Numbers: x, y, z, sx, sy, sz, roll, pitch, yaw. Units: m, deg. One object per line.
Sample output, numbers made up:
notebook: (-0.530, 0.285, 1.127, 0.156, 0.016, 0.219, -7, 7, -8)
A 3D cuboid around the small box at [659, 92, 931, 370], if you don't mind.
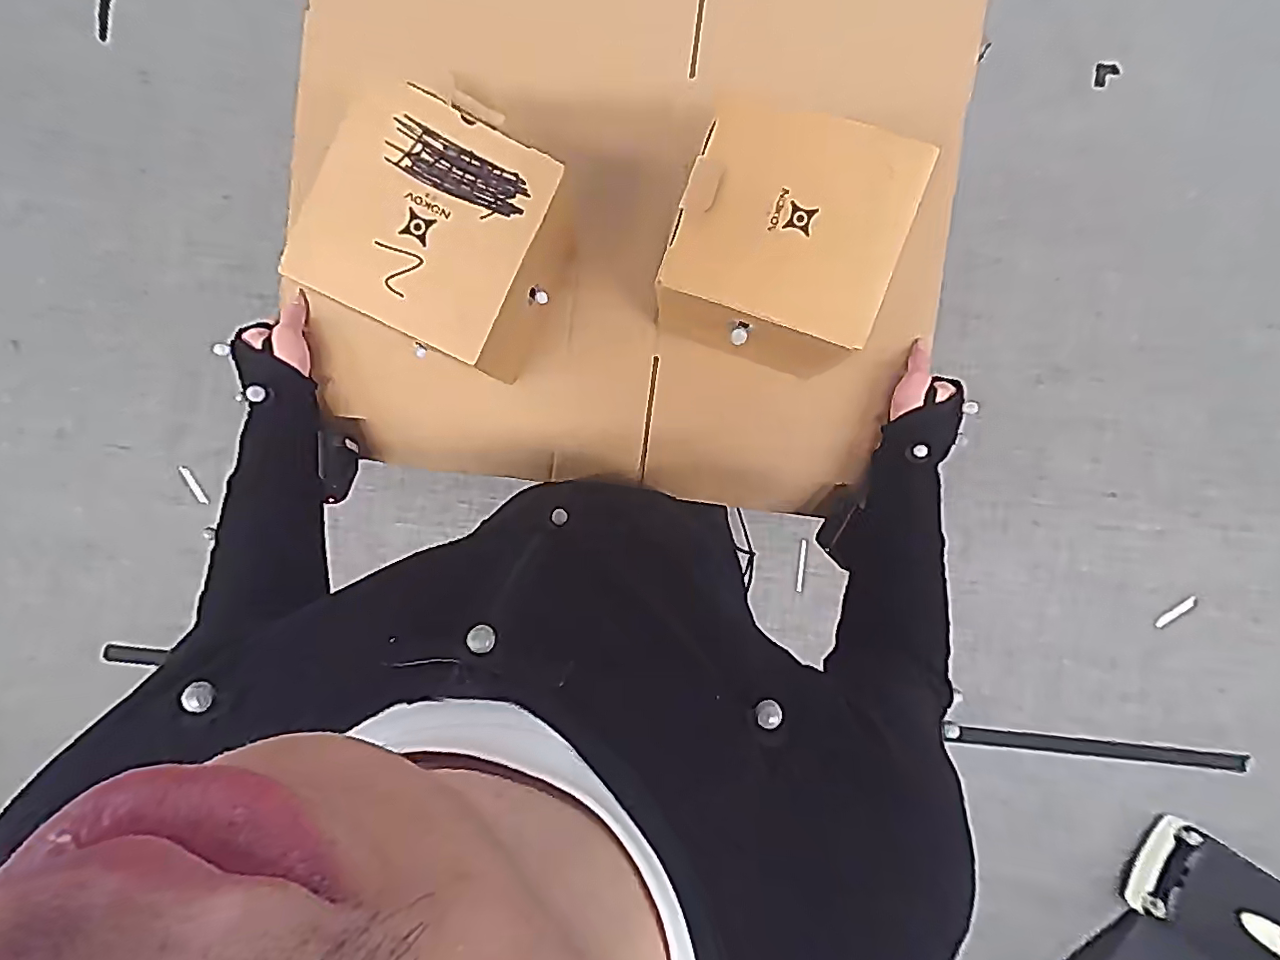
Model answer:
small box: (0.130, -0.214, 0.518, 0.179, 0.176, 0.168, 20, 94, 4)
